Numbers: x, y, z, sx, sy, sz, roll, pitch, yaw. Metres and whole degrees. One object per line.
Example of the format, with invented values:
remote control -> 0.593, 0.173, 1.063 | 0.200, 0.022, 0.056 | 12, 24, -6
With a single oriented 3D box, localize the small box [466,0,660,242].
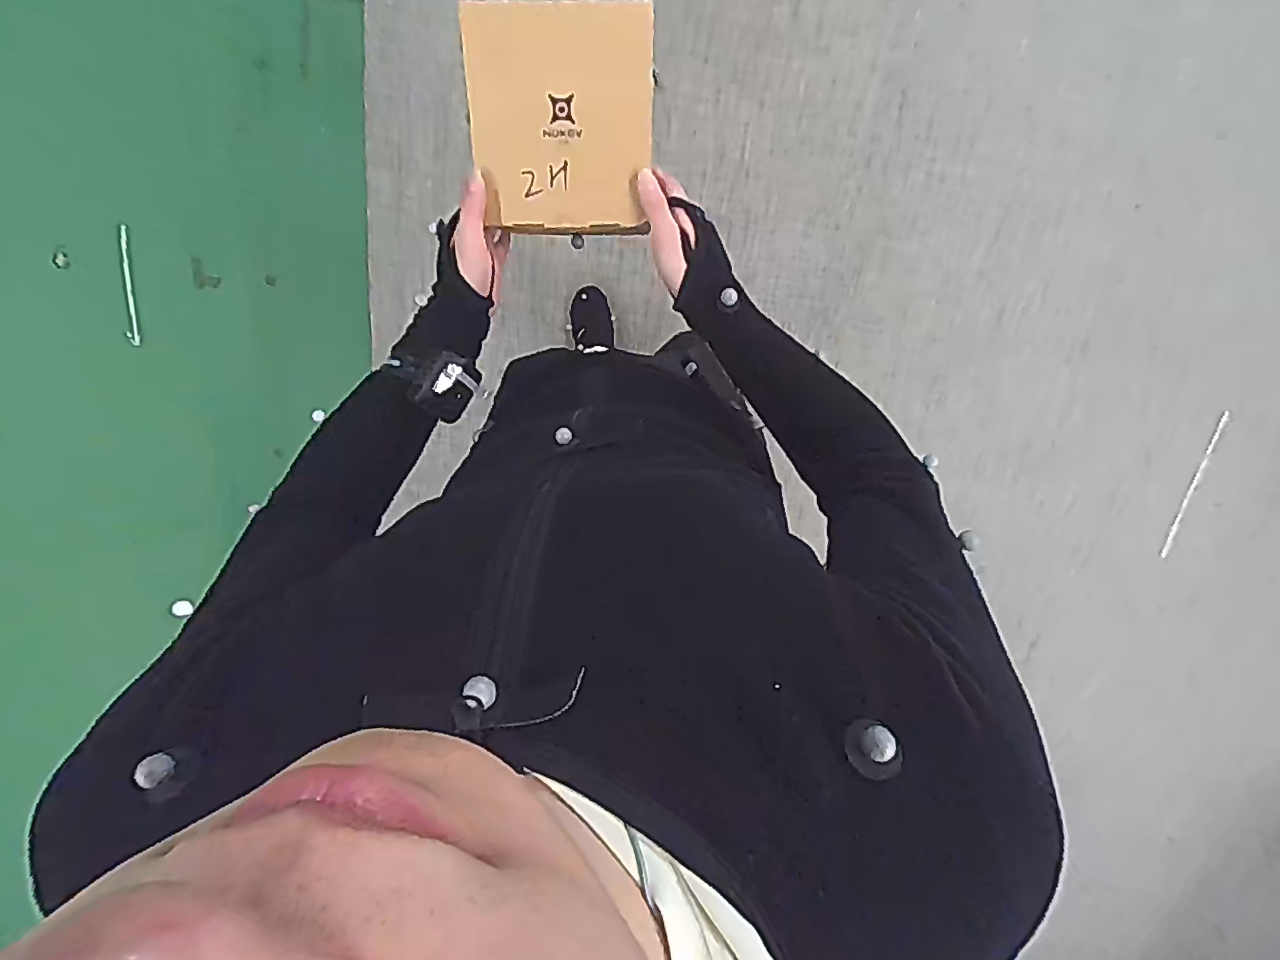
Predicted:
small box -> -0.068, -0.347, 0.556 | 0.168, 0.176, 0.179 | 0, 112, 0

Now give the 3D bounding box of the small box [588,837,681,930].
small box -> -0.017, 0.846, 1.070 | 0.168, 0.176, 0.179 | 5, 108, -2
